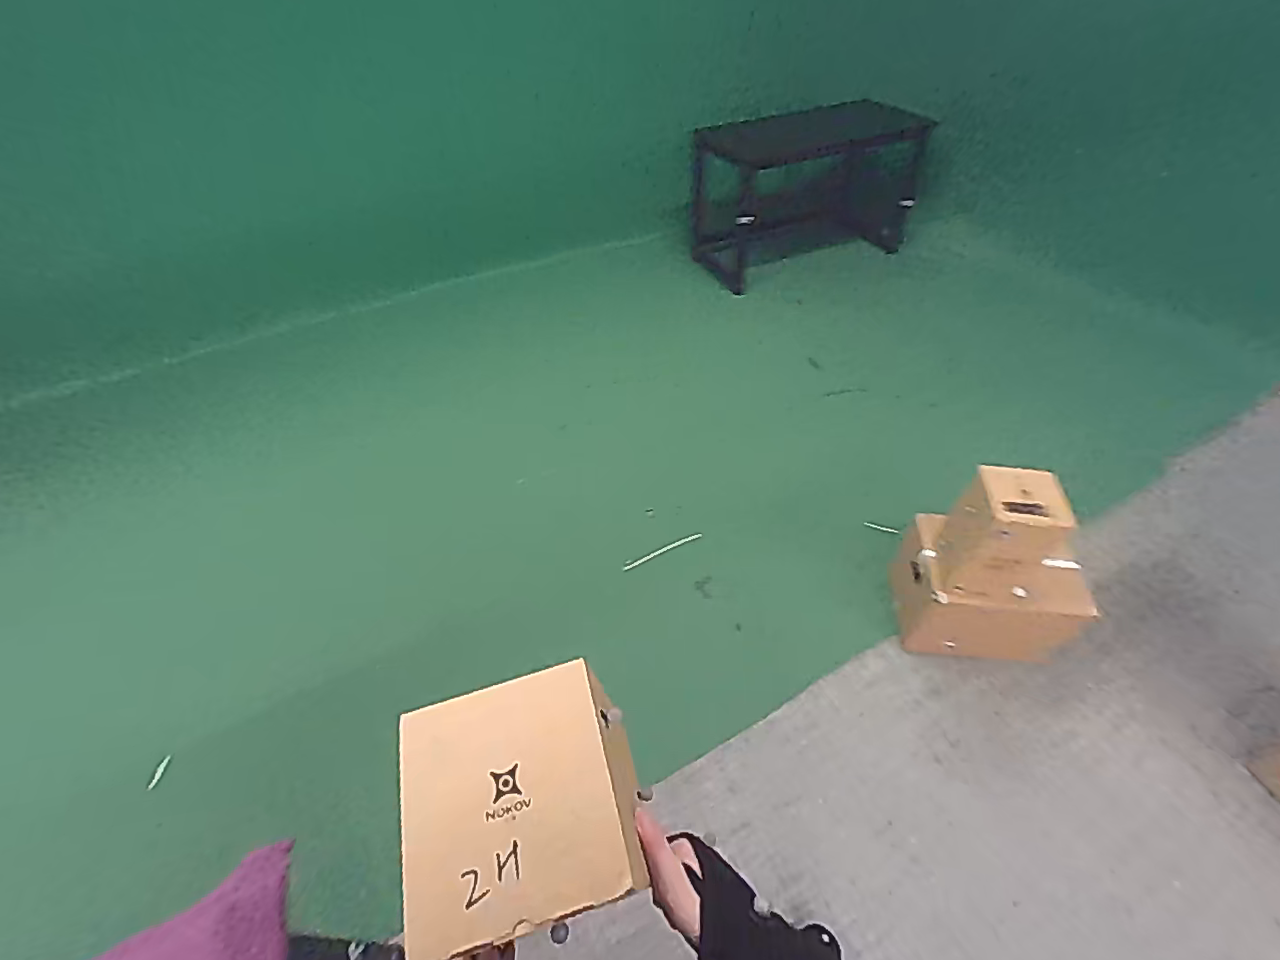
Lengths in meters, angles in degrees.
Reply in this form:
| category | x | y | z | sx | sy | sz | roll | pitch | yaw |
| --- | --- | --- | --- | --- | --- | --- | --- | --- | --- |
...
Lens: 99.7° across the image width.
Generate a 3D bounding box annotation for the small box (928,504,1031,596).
| category | x | y | z | sx | sy | sz | roll | pitch | yaw |
| --- | --- | --- | --- | --- | --- | --- | --- | --- | --- |
| small box | 0.901 | 0.191 | 1.452 | 0.168 | 0.176 | 0.179 | 7 | 48 | 8 |
